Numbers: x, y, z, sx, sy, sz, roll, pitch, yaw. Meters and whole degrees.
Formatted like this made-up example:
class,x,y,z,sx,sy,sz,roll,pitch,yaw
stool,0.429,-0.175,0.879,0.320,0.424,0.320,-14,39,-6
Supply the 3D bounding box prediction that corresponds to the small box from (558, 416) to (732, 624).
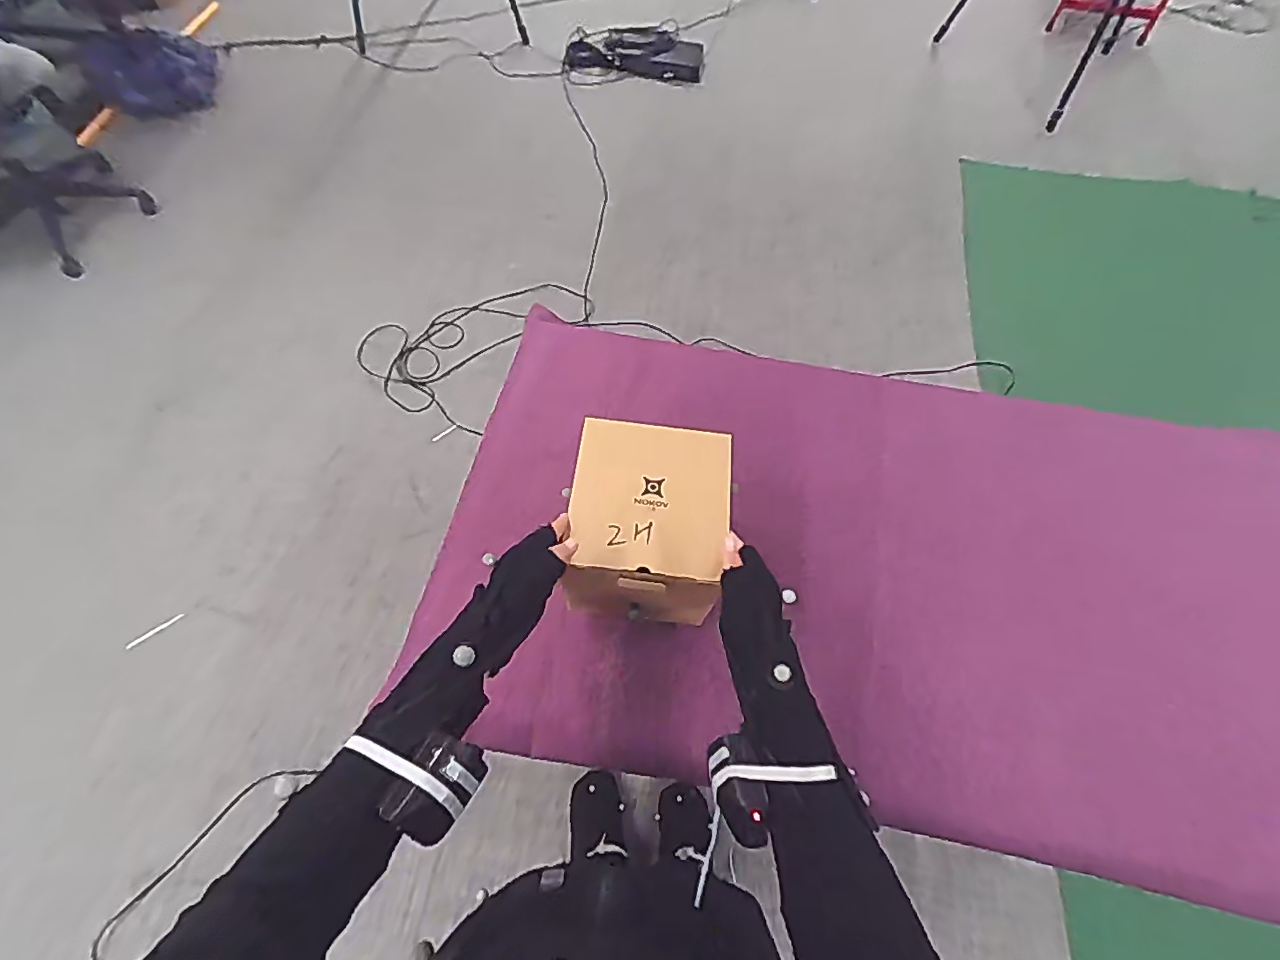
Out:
class,x,y,z,sx,sy,sz,roll,pitch,yaw
small box,0.006,0.053,0.627,0.168,0.176,0.179,7,62,1
